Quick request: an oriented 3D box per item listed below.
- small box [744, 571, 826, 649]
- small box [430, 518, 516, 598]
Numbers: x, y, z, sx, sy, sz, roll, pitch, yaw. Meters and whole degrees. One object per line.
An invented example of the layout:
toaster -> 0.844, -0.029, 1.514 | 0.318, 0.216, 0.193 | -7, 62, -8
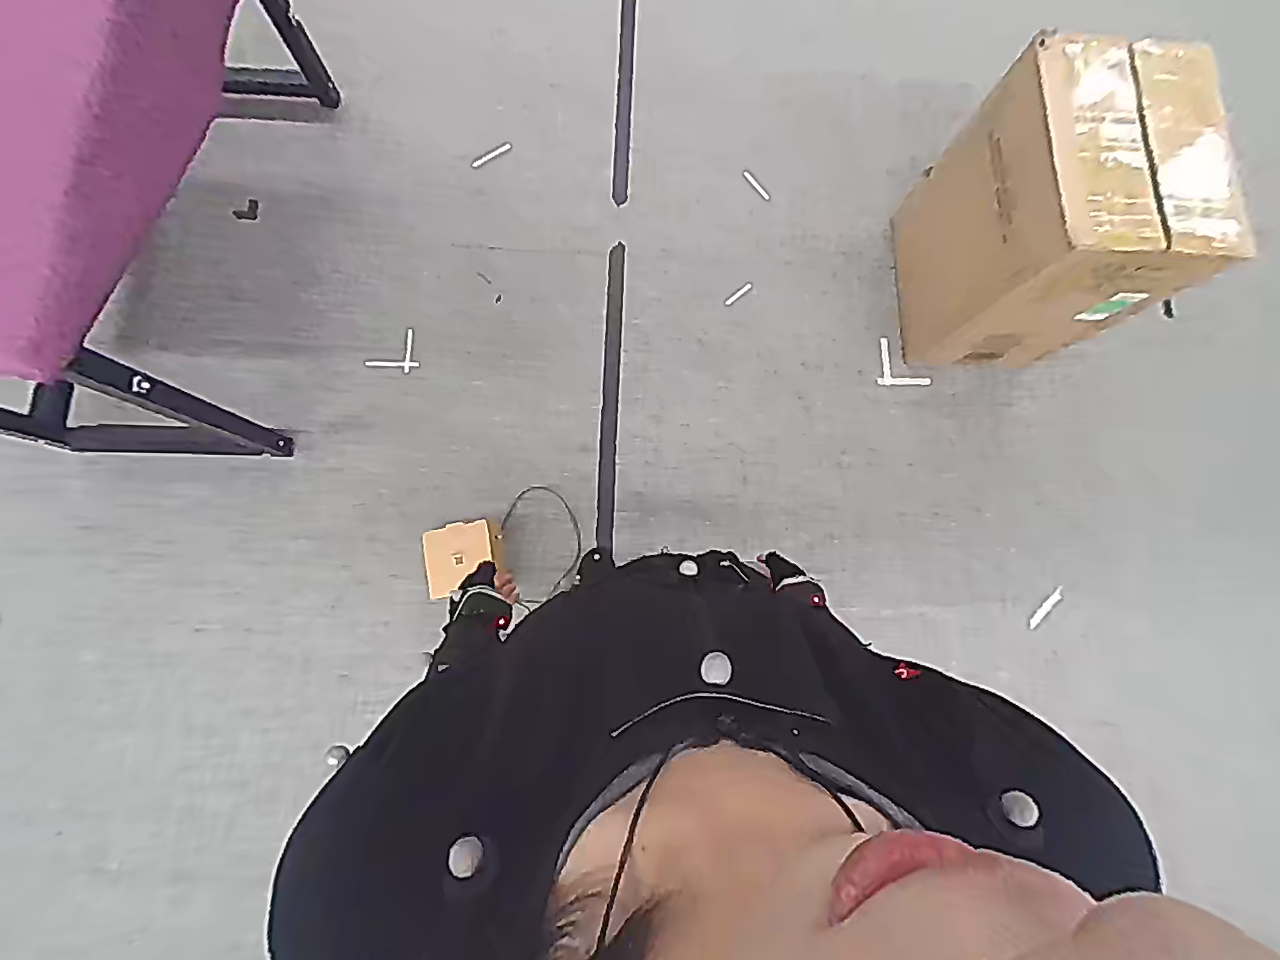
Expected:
small box -> 0.383, 0.344, 1.456 | 0.168, 0.176, 0.179 | 8, 80, -2
small box -> -0.436, 0.207, 1.430 | 0.168, 0.176, 0.179 | -11, 81, -2
